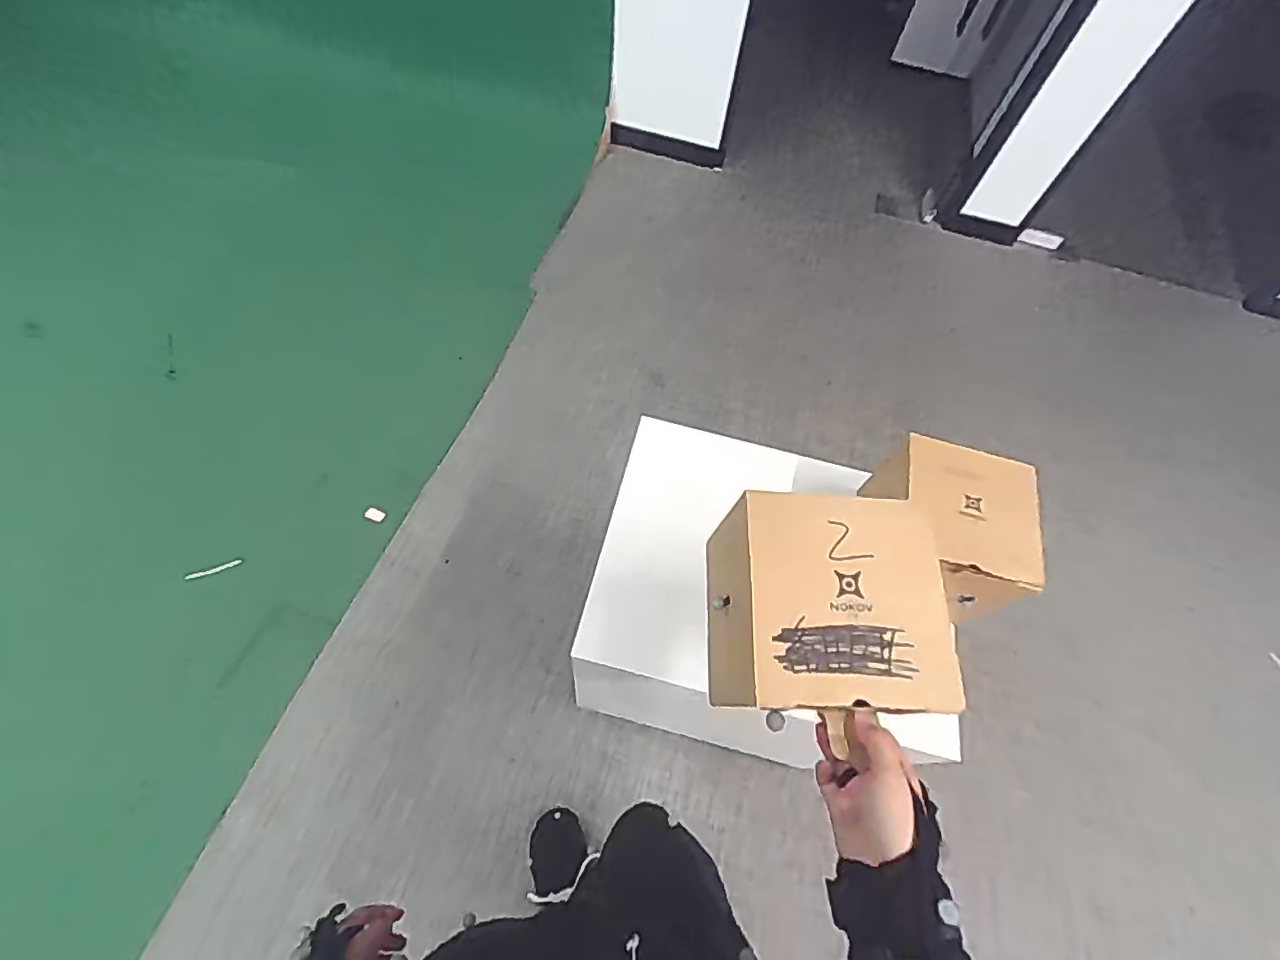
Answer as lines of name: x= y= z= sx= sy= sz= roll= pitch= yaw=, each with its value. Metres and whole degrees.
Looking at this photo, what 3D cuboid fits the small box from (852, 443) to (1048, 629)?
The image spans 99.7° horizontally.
small box: x=0.402 y=0.083 z=0.729 sx=0.168 sy=0.176 sz=0.179 roll=16 pitch=60 yaw=3
